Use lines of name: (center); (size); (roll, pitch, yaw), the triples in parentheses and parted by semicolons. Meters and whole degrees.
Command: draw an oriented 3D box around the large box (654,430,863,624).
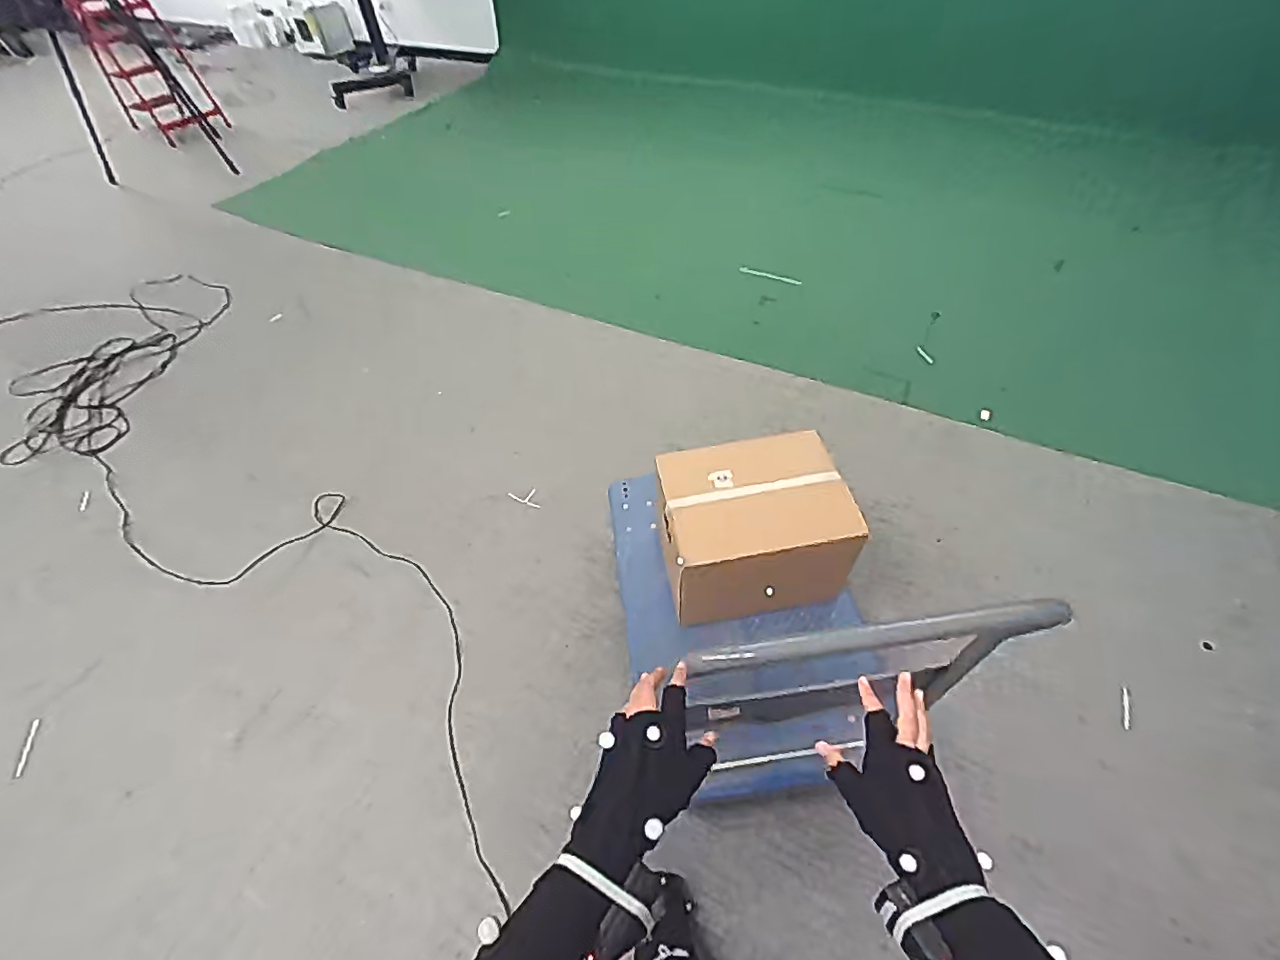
large box: (0.266, 0.121, 1.342); (0.408, 0.320, 0.320); (-11, 51, -4)
